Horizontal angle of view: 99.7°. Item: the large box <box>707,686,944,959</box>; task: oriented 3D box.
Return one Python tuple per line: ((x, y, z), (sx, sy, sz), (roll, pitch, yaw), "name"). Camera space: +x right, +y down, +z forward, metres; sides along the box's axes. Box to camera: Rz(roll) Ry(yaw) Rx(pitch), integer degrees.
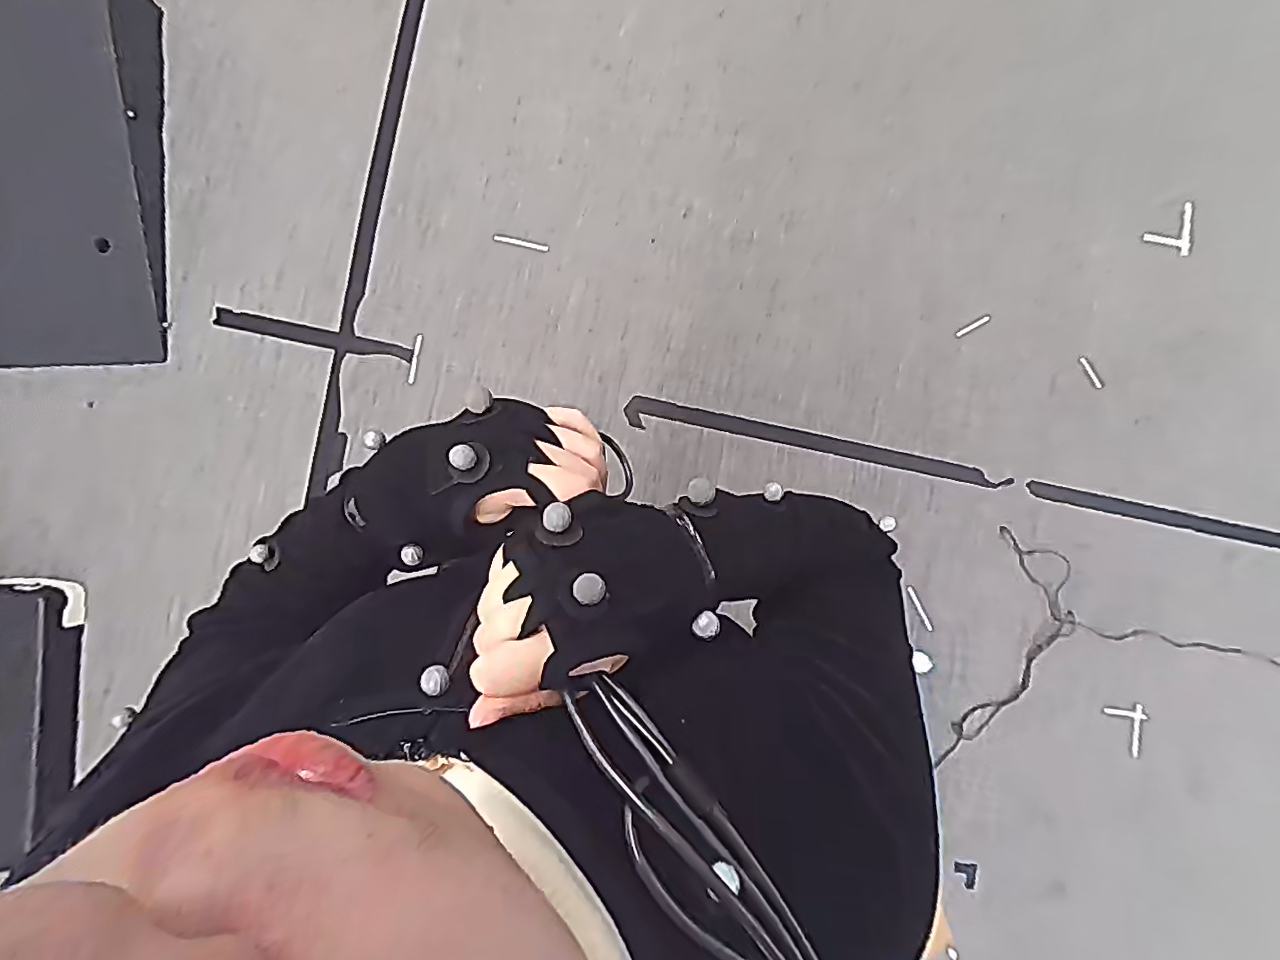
((0.374, 0.735, 1.181), (0.320, 0.320, 0.408), (-17, 90, -5), "large box")
